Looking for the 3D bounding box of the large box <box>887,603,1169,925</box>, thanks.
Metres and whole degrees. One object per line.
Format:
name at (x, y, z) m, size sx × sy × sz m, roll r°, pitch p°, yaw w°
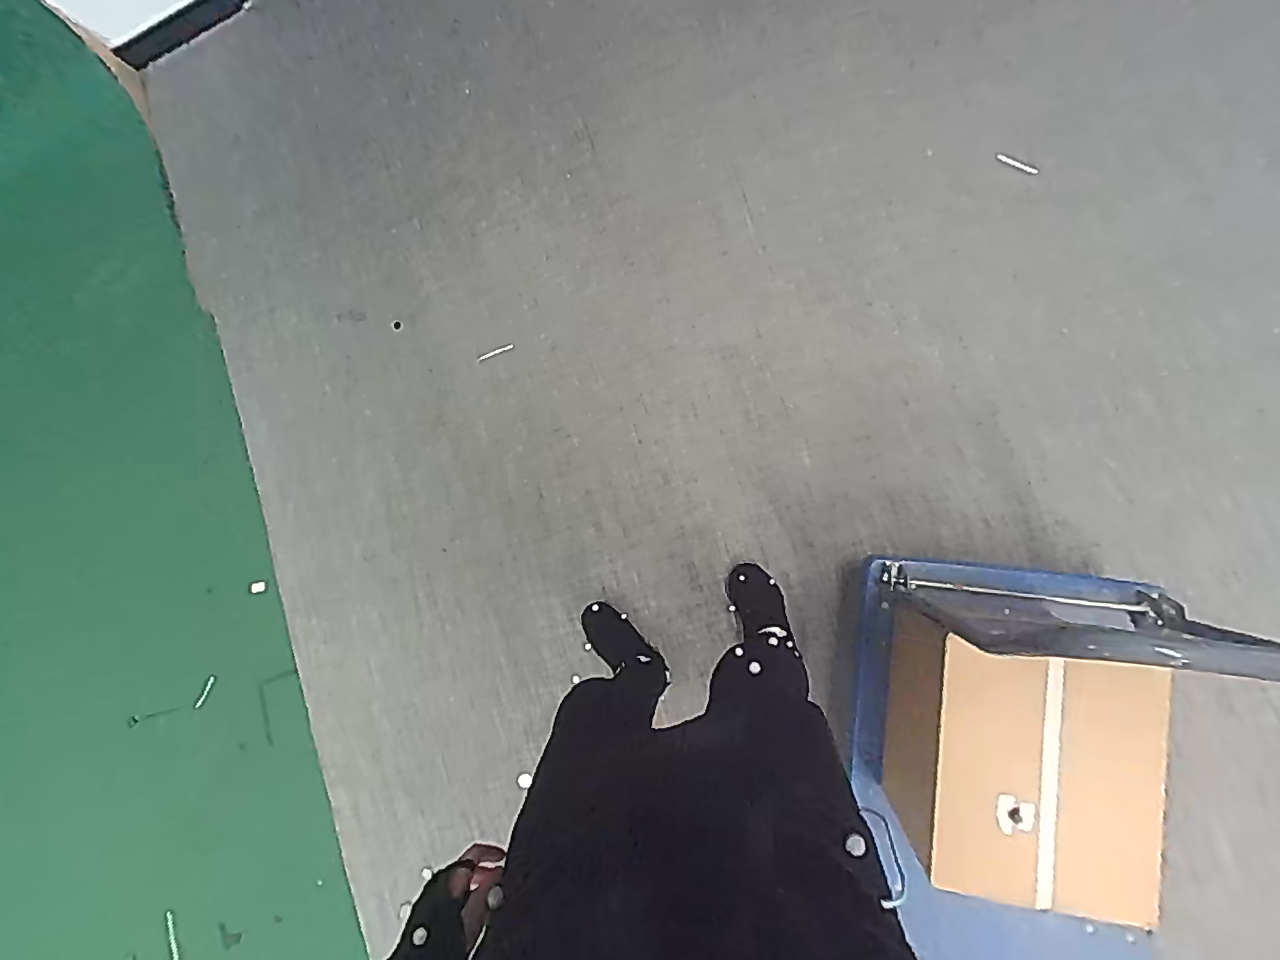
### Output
large box at (0.657, 0.459, 0.979) m, size 0.320 × 0.320 × 0.408 m, roll 5°, pitch 88°, yaw 11°
